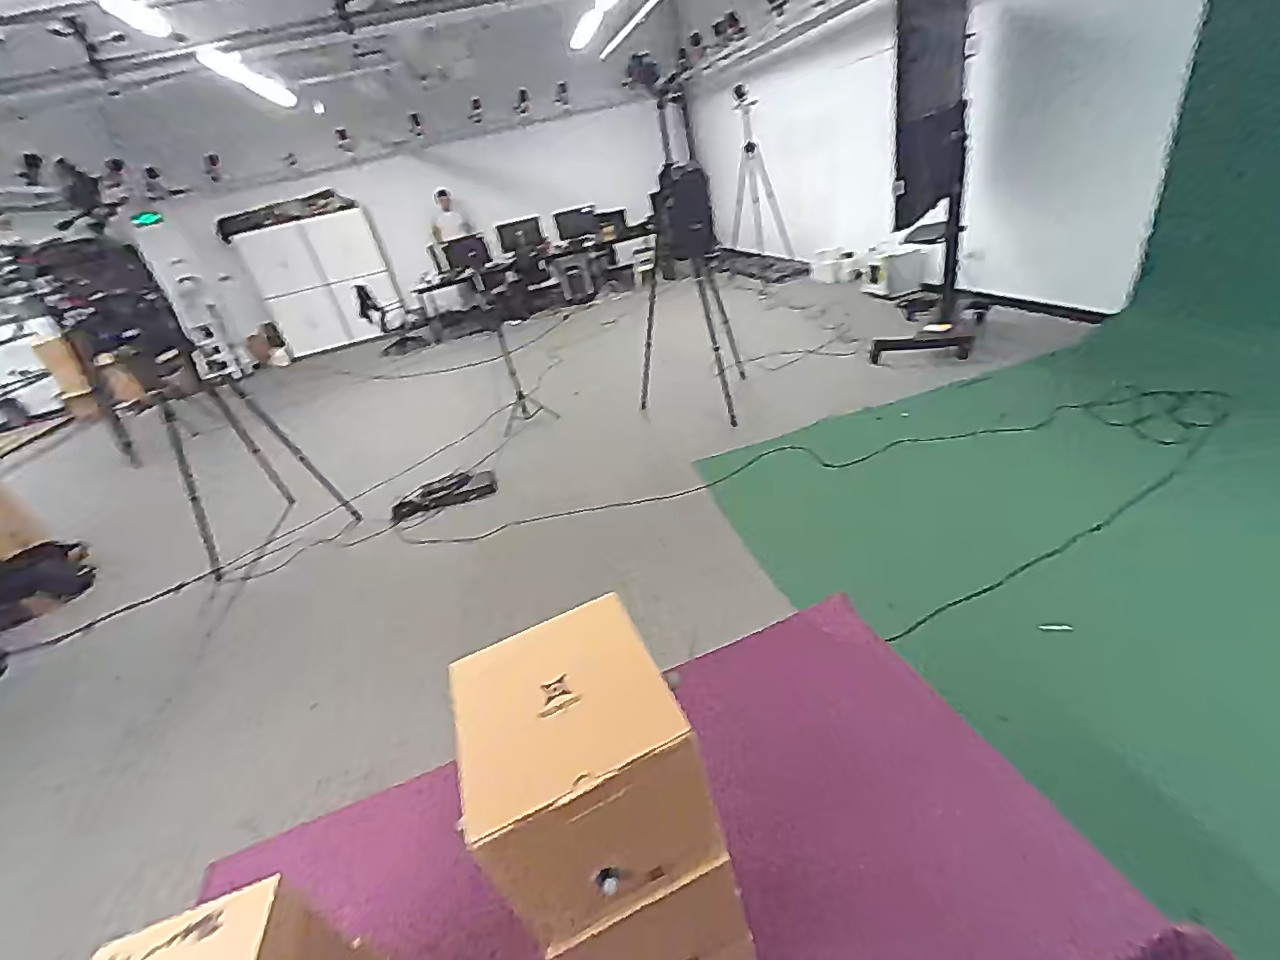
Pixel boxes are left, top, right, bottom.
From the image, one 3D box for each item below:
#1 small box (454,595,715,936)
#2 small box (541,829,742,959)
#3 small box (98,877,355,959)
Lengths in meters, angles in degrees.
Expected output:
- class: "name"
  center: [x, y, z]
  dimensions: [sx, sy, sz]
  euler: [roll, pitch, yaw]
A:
- class: "small box"
  center: [-0.051, 0.243, 0.483]
  dimensions: [0.168, 0.176, 0.179]
  euler: [-22, 32, -13]
- class: "small box"
  center: [-0.012, 0.381, 0.559]
  dimensions: [0.168, 0.176, 0.179]
  euler: [-21, 31, -11]
- class: "small box"
  center: [-0.382, 0.516, 0.484]
  dimensions: [0.168, 0.176, 0.179]
  euler: [-18, 31, -9]
